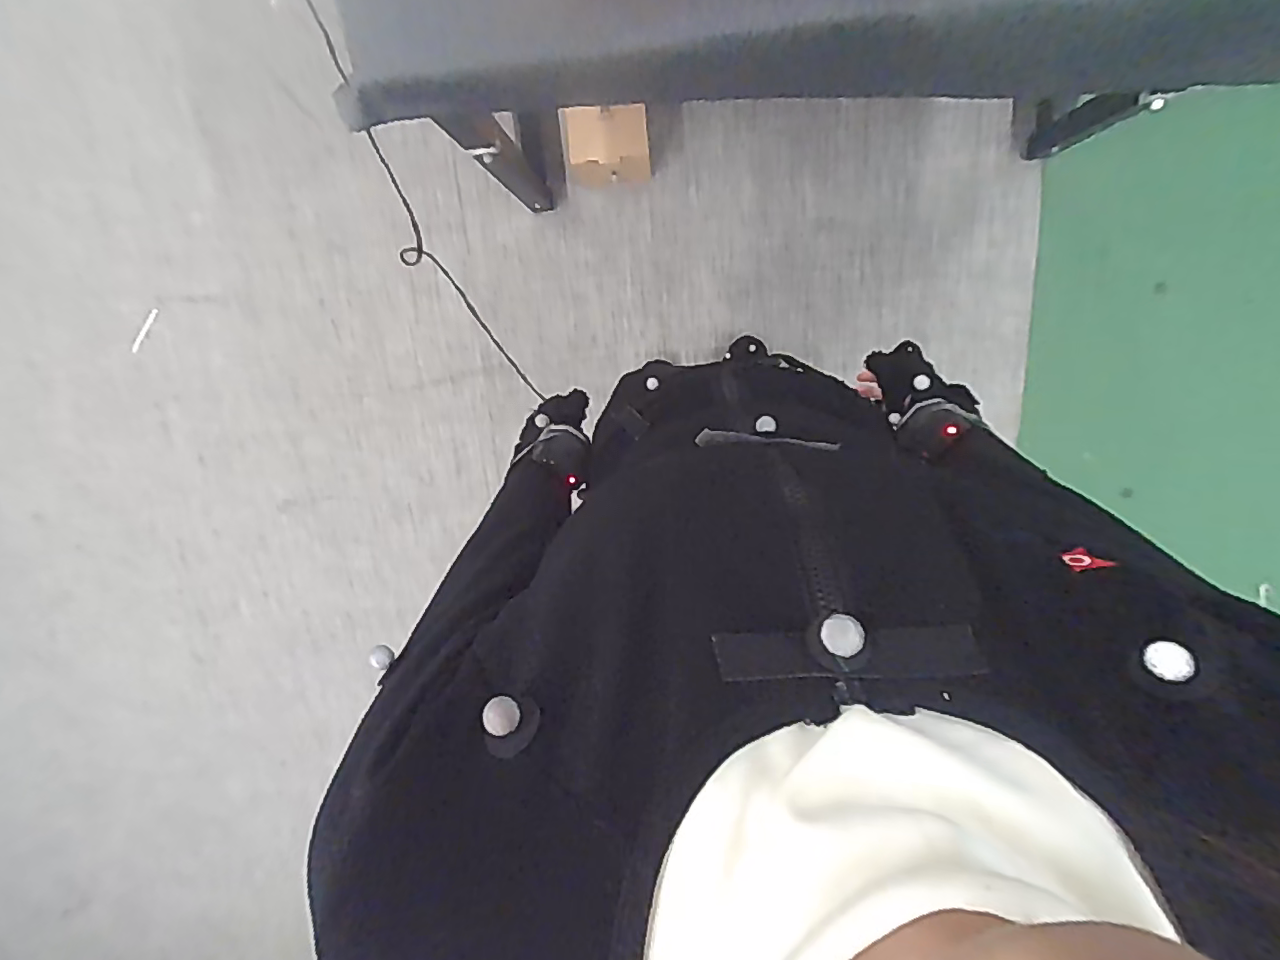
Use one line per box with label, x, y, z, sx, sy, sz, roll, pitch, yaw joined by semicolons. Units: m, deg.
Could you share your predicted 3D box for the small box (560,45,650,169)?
small box;-0.067;-0.786;1.161;0.168;0.176;0.179;-4;106;4
